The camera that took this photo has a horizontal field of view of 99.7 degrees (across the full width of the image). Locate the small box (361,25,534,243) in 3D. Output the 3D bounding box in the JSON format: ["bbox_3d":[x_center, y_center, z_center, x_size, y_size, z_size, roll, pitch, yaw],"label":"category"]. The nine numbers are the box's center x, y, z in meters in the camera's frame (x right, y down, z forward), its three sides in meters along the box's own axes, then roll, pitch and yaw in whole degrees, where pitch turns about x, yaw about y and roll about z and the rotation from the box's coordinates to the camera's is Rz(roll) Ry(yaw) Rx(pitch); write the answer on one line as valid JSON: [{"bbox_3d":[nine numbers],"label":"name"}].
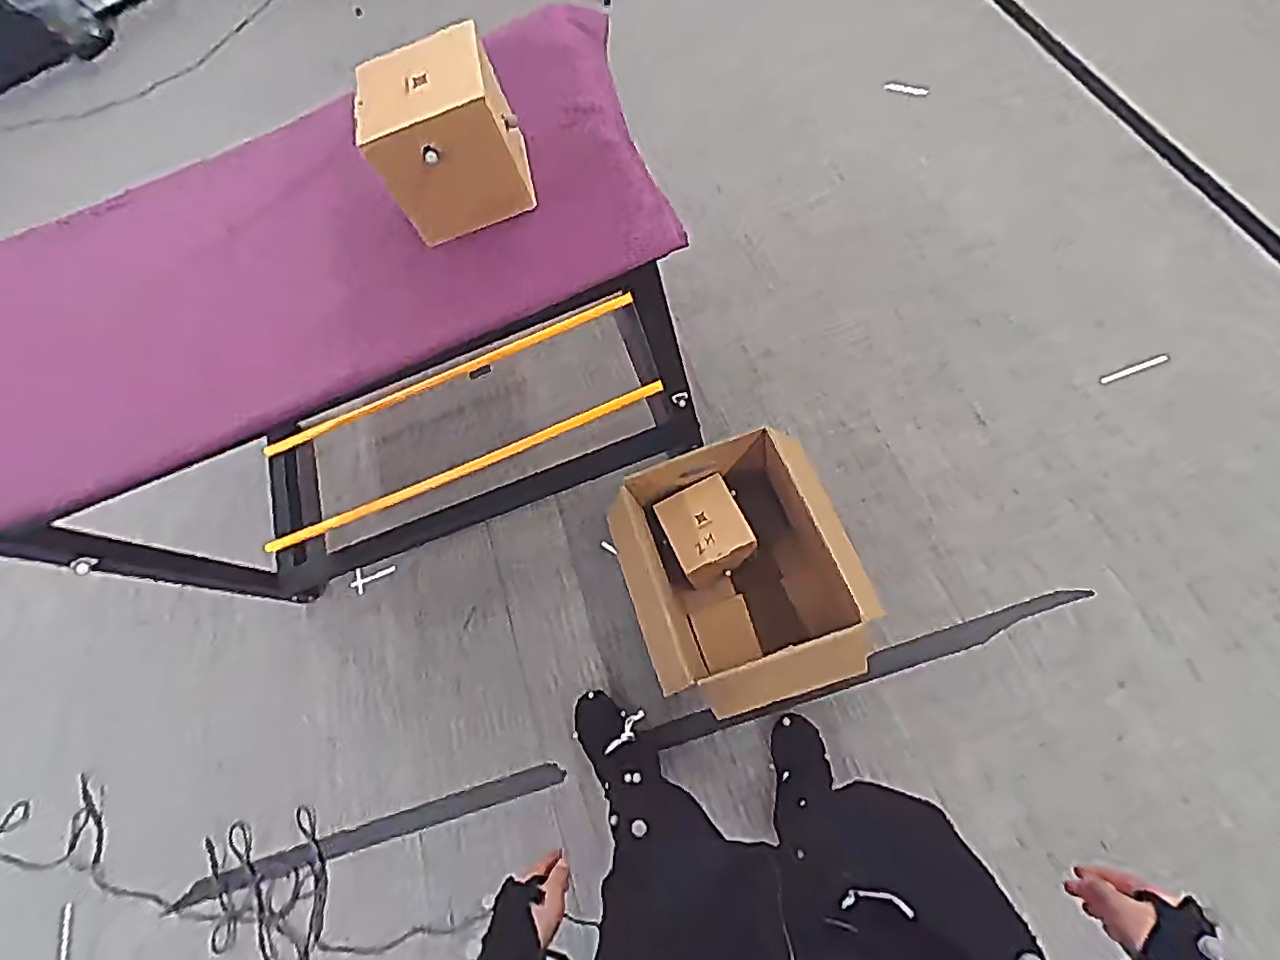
[{"bbox_3d":[-0.260,-0.474,0.762,0.179,0.176,0.168,-17,66,7],"label":"small box"}]
